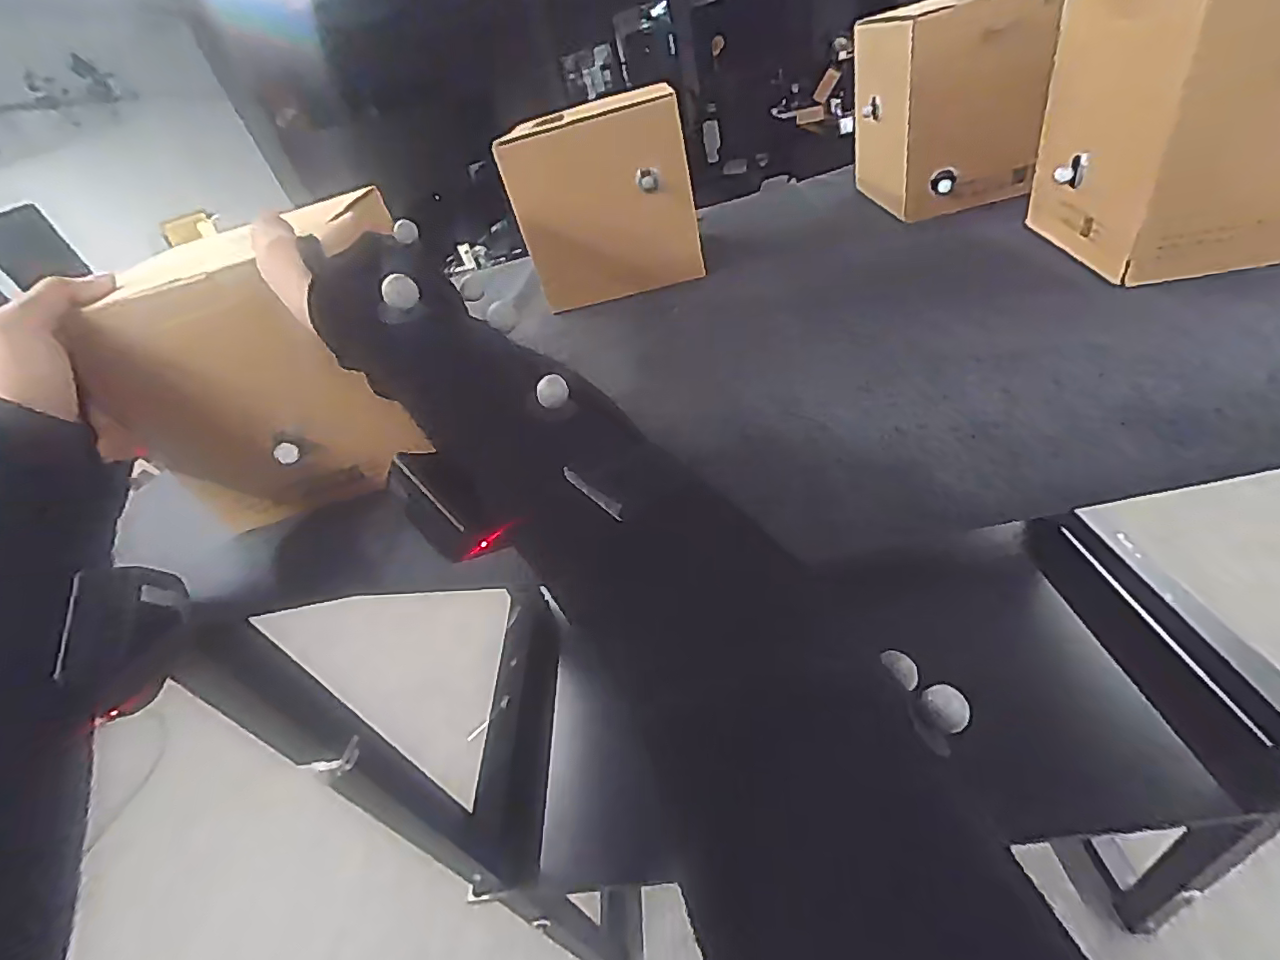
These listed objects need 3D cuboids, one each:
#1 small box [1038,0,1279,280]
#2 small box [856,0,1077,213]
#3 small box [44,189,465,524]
[{"bbox_3d":[0.390,-0.247,0.338,0.179,0.176,0.168,-6,37,17],"label":"small box"},{"bbox_3d":[0.328,-0.389,0.546,0.168,0.176,0.179,-11,37,10],"label":"small box"},{"bbox_3d":[-0.249,-0.096,0.413,0.168,0.176,0.179,-17,38,1],"label":"small box"}]
